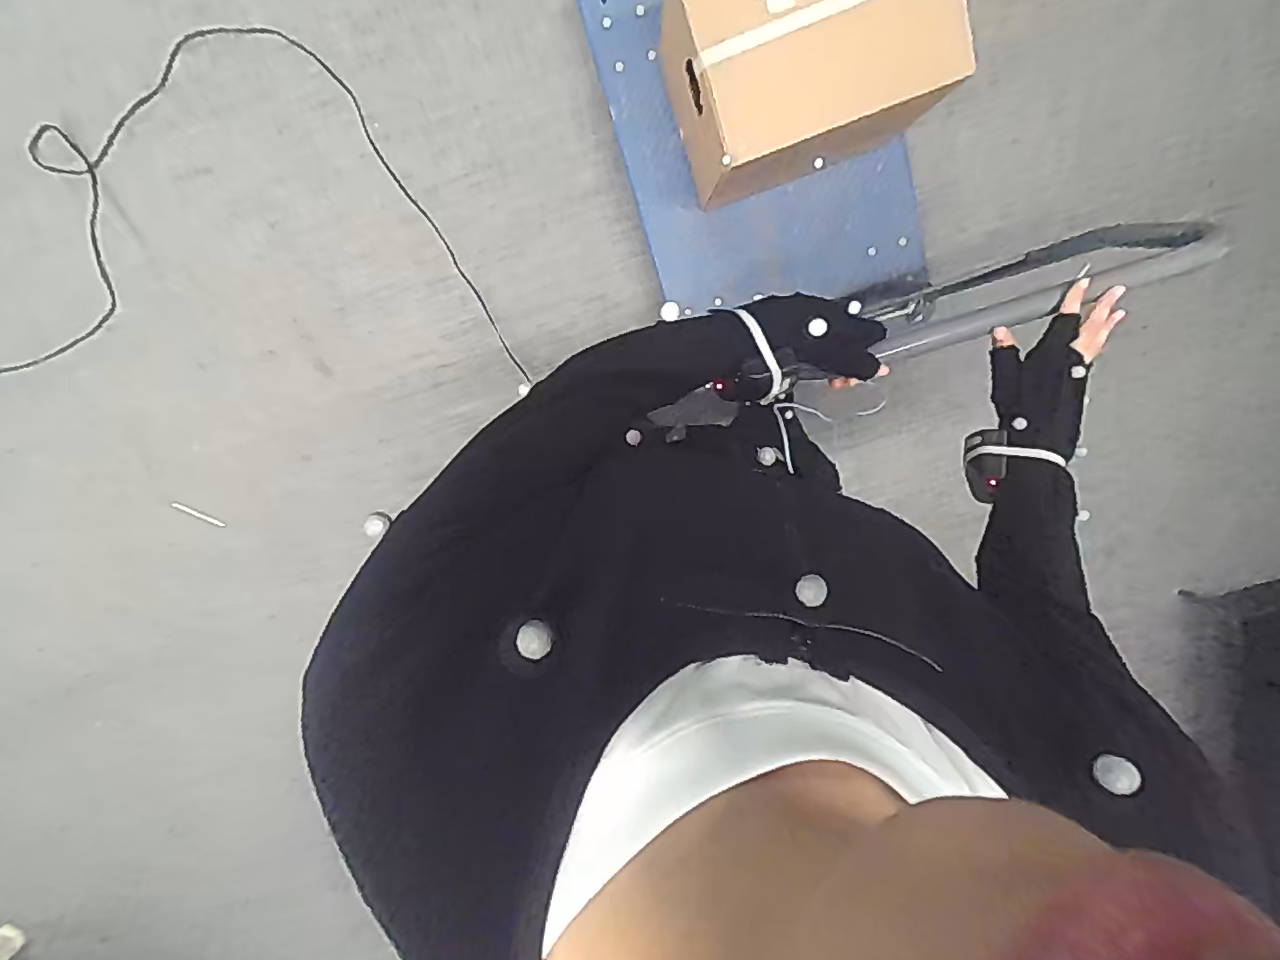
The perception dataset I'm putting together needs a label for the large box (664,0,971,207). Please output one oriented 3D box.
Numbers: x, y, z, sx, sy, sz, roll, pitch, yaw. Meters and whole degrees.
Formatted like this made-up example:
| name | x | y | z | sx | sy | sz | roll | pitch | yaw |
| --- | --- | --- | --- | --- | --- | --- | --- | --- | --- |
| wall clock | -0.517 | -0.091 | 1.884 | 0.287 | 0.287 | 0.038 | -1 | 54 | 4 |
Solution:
| name | x | y | z | sx | sy | sz | roll | pitch | yaw |
| --- | --- | --- | --- | --- | --- | --- | --- | --- | --- |
| large box | 0.283 | -0.752 | 0.971 | 0.408 | 0.320 | 0.320 | -20 | 103 | 5 |
